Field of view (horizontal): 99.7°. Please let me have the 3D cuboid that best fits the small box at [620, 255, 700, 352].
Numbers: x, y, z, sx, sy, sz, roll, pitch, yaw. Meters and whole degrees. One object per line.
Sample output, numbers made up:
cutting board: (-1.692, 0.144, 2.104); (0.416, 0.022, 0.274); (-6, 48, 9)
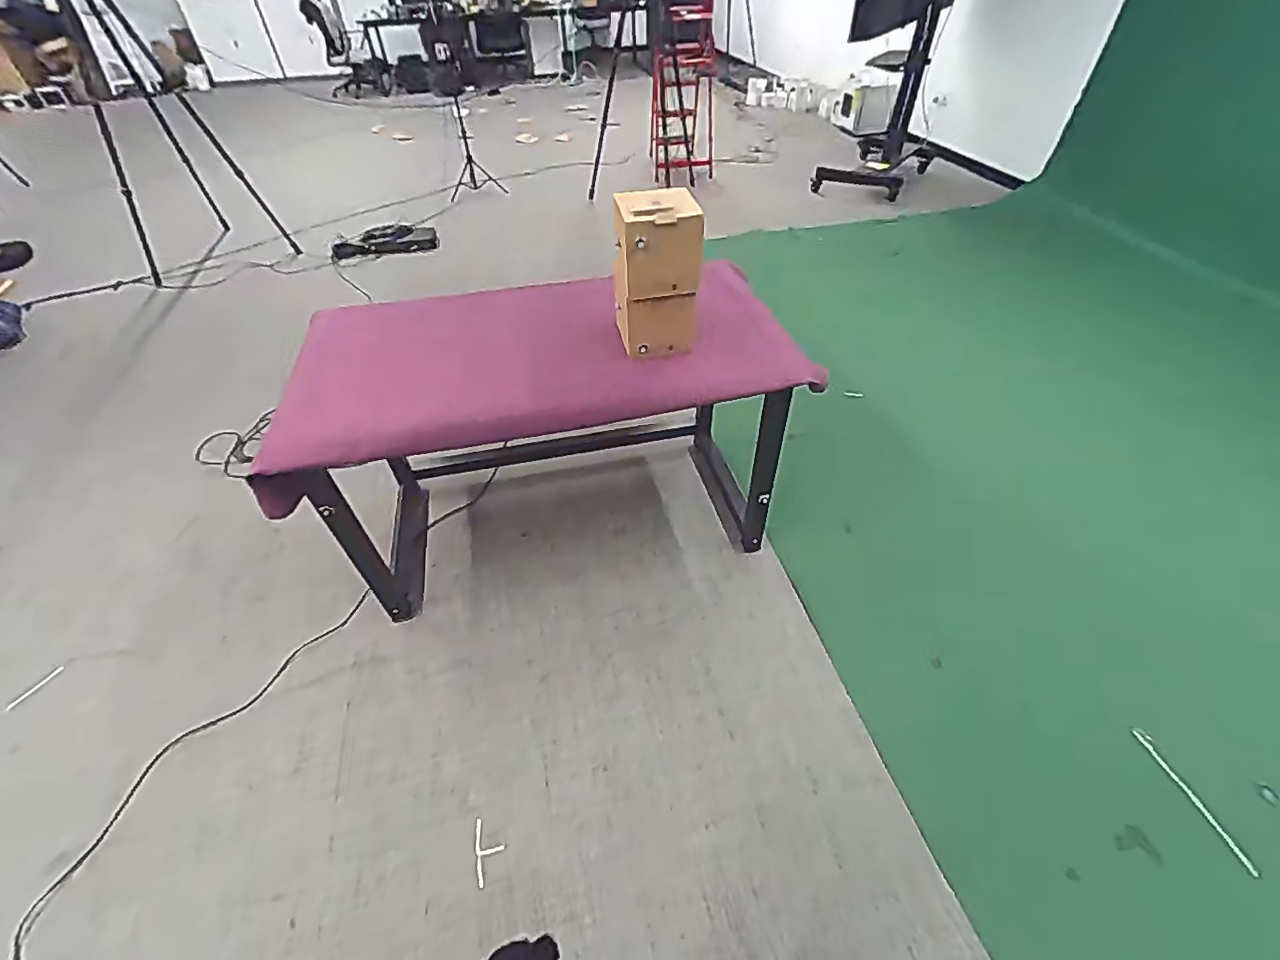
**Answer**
small box: (0.045, -0.426, 1.318); (0.168, 0.176, 0.179); (-6, 47, -6)
